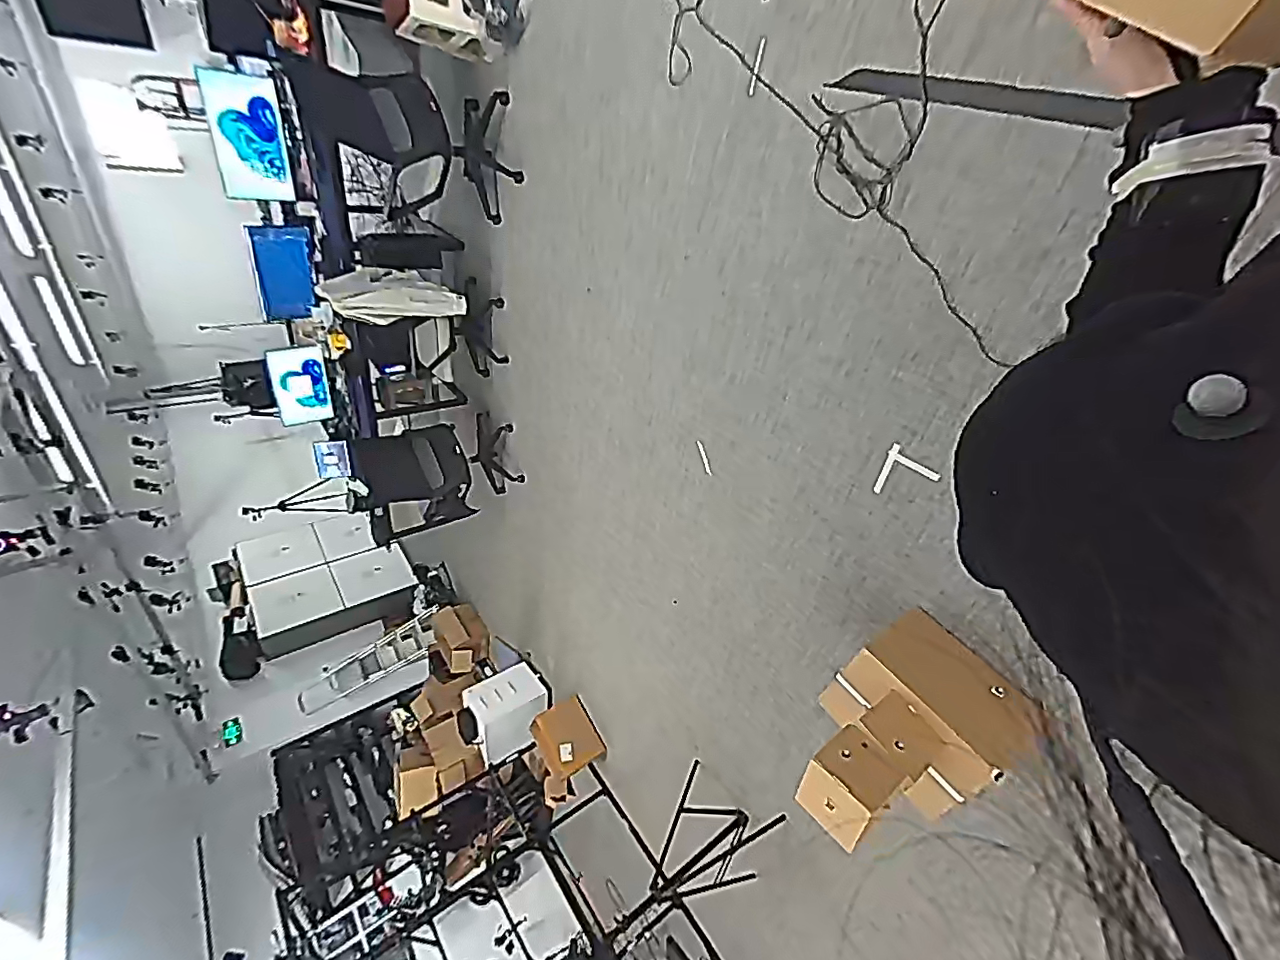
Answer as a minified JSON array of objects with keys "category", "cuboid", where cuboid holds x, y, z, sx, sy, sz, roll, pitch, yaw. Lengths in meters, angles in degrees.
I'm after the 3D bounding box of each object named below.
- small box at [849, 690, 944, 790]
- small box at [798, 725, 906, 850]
[{"category":"small box","cuboid":[0.649,0.690,1.417,0.179,0.176,0.168,49,139,31]},{"category":"small box","cuboid":[0.523,0.746,1.330,0.168,0.176,0.179,35,132,42]}]
